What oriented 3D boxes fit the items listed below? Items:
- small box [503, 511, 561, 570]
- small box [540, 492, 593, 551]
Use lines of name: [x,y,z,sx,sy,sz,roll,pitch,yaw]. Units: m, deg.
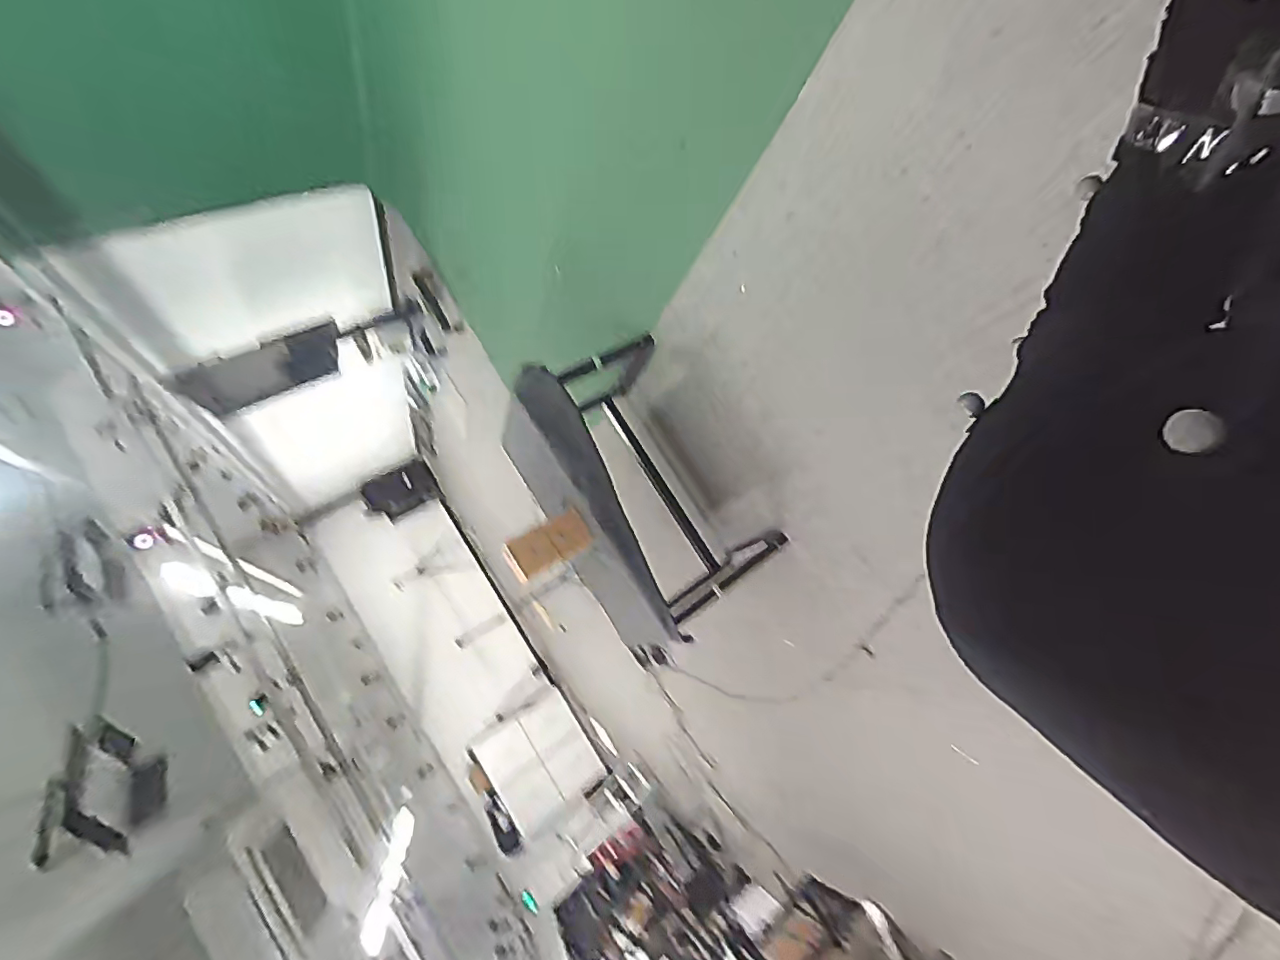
small box: [-0.455,0.247,2.265,0.179,0.176,0.168,55,154,9]
small box: [-0.325,0.178,2.338,0.179,0.176,0.168,57,155,6]
